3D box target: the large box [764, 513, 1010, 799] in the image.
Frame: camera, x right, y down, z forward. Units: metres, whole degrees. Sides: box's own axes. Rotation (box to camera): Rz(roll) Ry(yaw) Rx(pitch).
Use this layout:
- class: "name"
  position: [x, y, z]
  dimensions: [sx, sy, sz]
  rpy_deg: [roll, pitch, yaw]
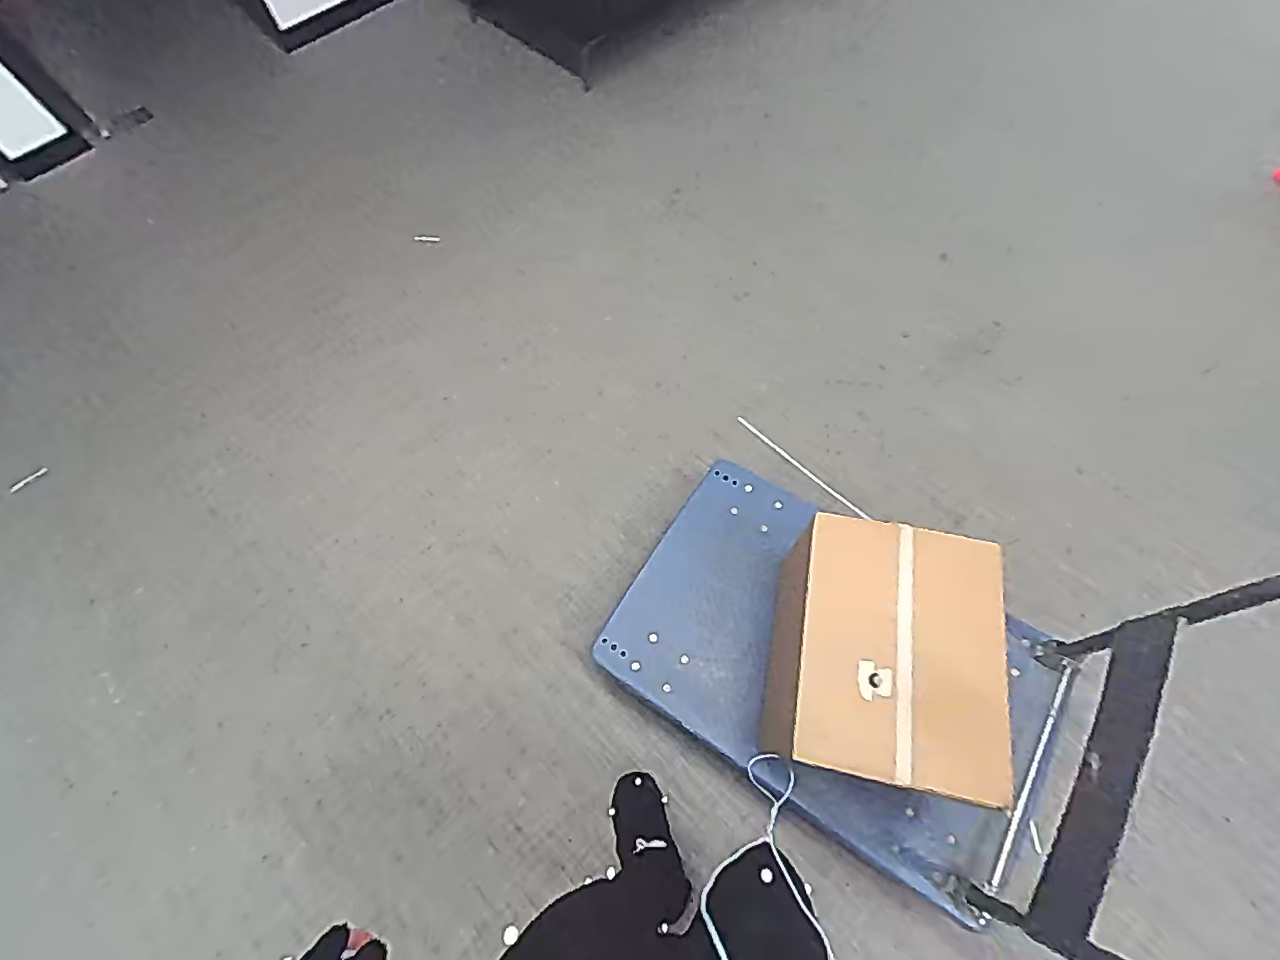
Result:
- class: "large box"
  position: [0.428, 0.316, 1.008]
  dimensions: [0.320, 0.320, 0.408]
  rpy_deg: [9, 68, 7]
